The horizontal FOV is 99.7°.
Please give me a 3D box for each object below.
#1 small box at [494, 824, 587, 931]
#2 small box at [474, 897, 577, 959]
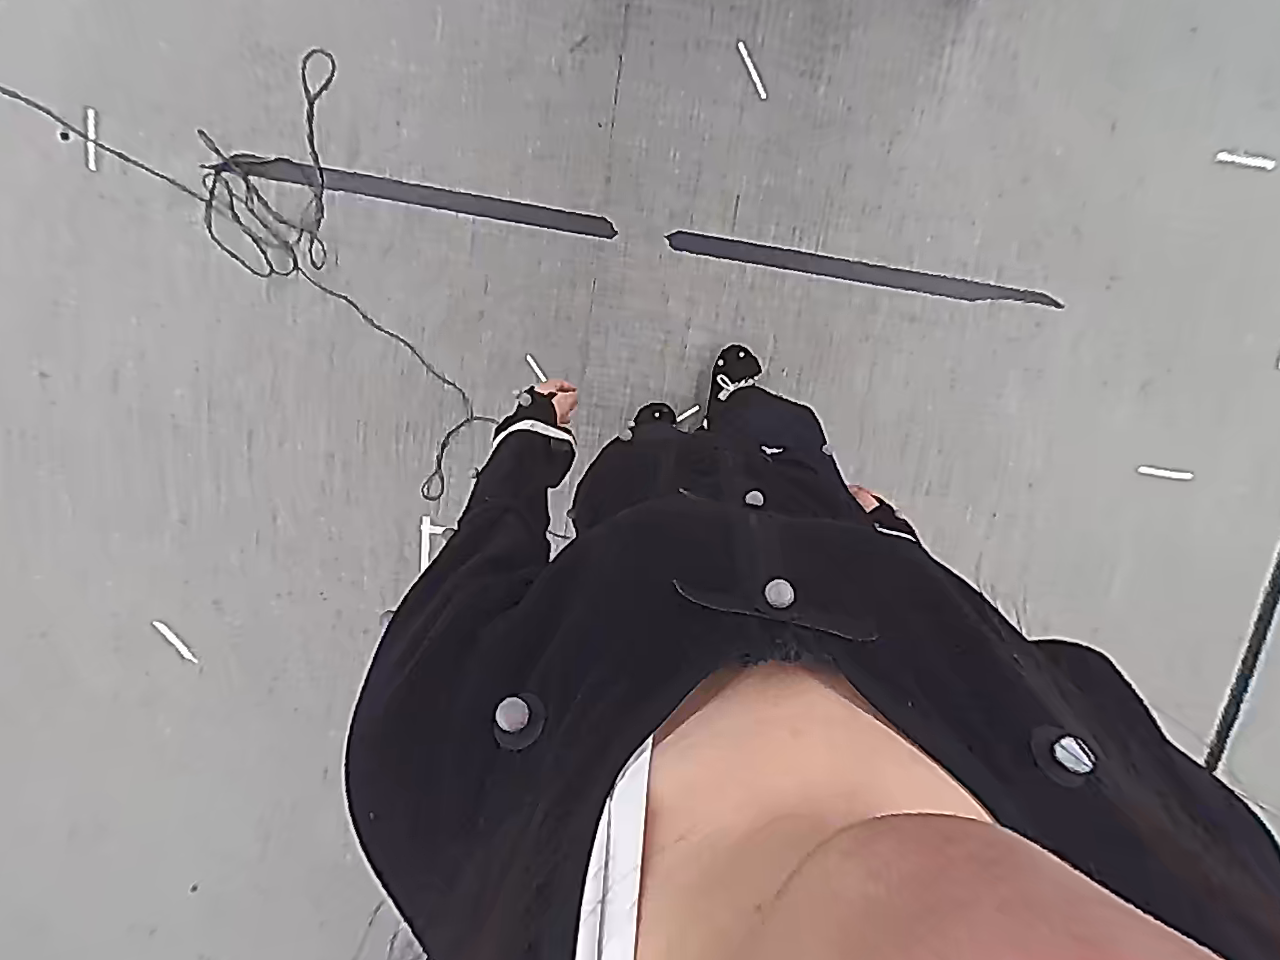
[{"bbox_3d":[-0.203,0.827,1.071,0.168,0.176,0.179,13,99,-3],"label":"small box"},{"bbox_3d":[-0.203,0.853,0.909,0.168,0.176,0.179,11,101,-3],"label":"small box"}]
